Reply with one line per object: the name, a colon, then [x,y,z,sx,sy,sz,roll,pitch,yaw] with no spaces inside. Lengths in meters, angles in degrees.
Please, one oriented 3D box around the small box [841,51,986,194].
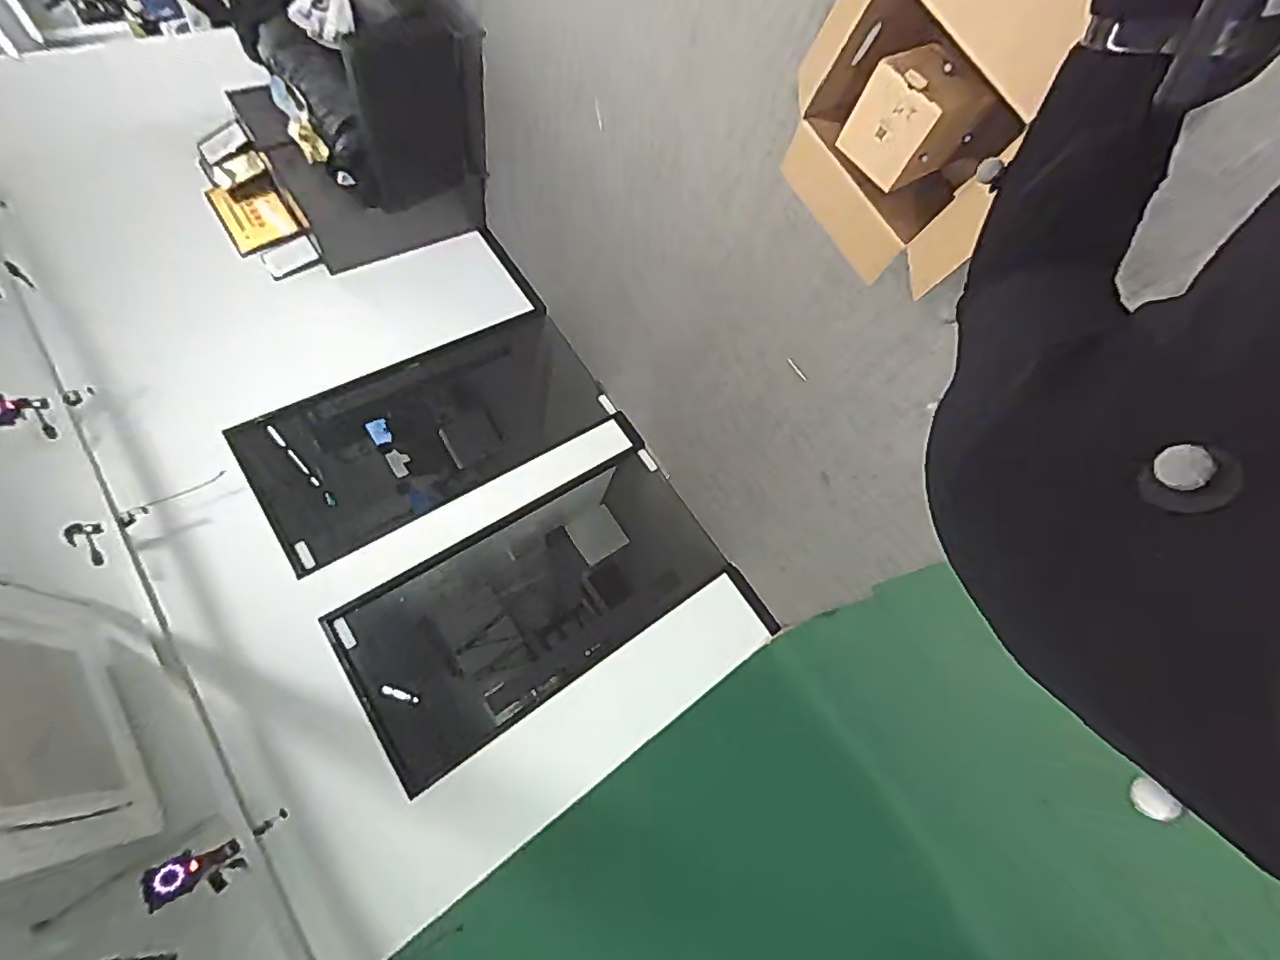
small box: [0.568,-0.747,1.129,0.168,0.176,0.179,52,156,13]
